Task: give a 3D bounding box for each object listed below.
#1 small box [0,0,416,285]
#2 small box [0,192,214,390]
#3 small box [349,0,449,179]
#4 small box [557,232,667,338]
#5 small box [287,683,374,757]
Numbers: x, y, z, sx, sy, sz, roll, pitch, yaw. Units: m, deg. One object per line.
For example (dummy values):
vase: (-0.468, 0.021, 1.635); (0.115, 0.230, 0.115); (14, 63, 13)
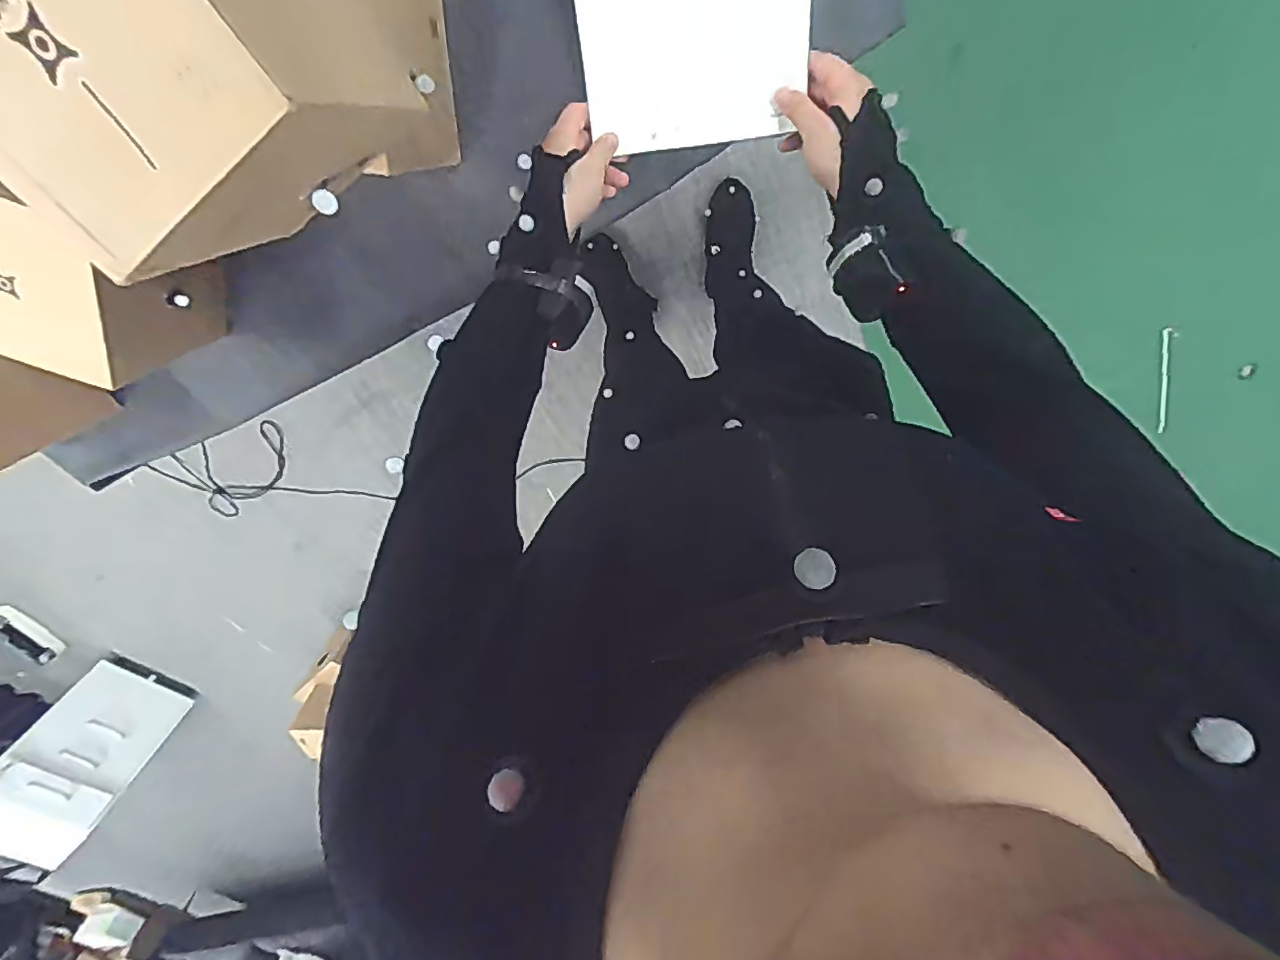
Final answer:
small box: (-0.272, -0.248, 0.310); (0.168, 0.176, 0.179); (-25, 119, 20)
small box: (-0.571, -0.223, 0.547); (0.179, 0.176, 0.168); (20, 123, -10)
small box: (-0.270, -0.352, 0.439); (0.179, 0.176, 0.168); (4, 124, 2)
small box: (-0.061, -0.440, 1.226); (0.176, 0.168, 0.179); (9, 103, -37)
small box: (-1.013, 0.793, 1.796); (0.179, 0.176, 0.168); (-4, 124, 4)
